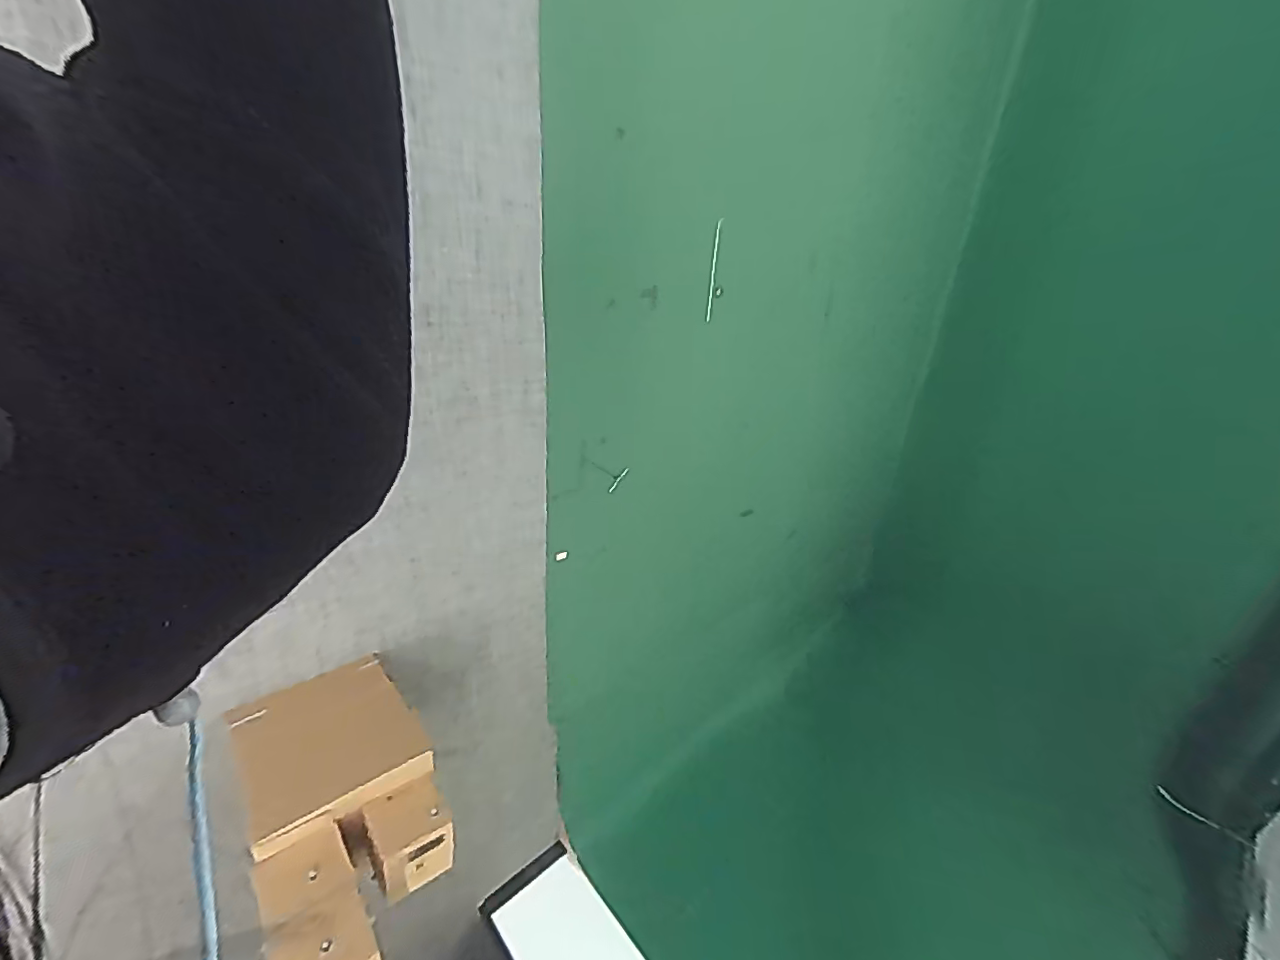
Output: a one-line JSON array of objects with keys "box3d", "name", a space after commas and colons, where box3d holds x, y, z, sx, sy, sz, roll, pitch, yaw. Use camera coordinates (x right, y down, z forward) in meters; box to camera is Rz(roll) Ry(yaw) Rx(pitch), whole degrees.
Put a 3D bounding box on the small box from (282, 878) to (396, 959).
[{"box3d": [-0.627, 0.999, 1.128, 0.179, 0.176, 0.168, -16, 121, -39], "name": "small box"}]
